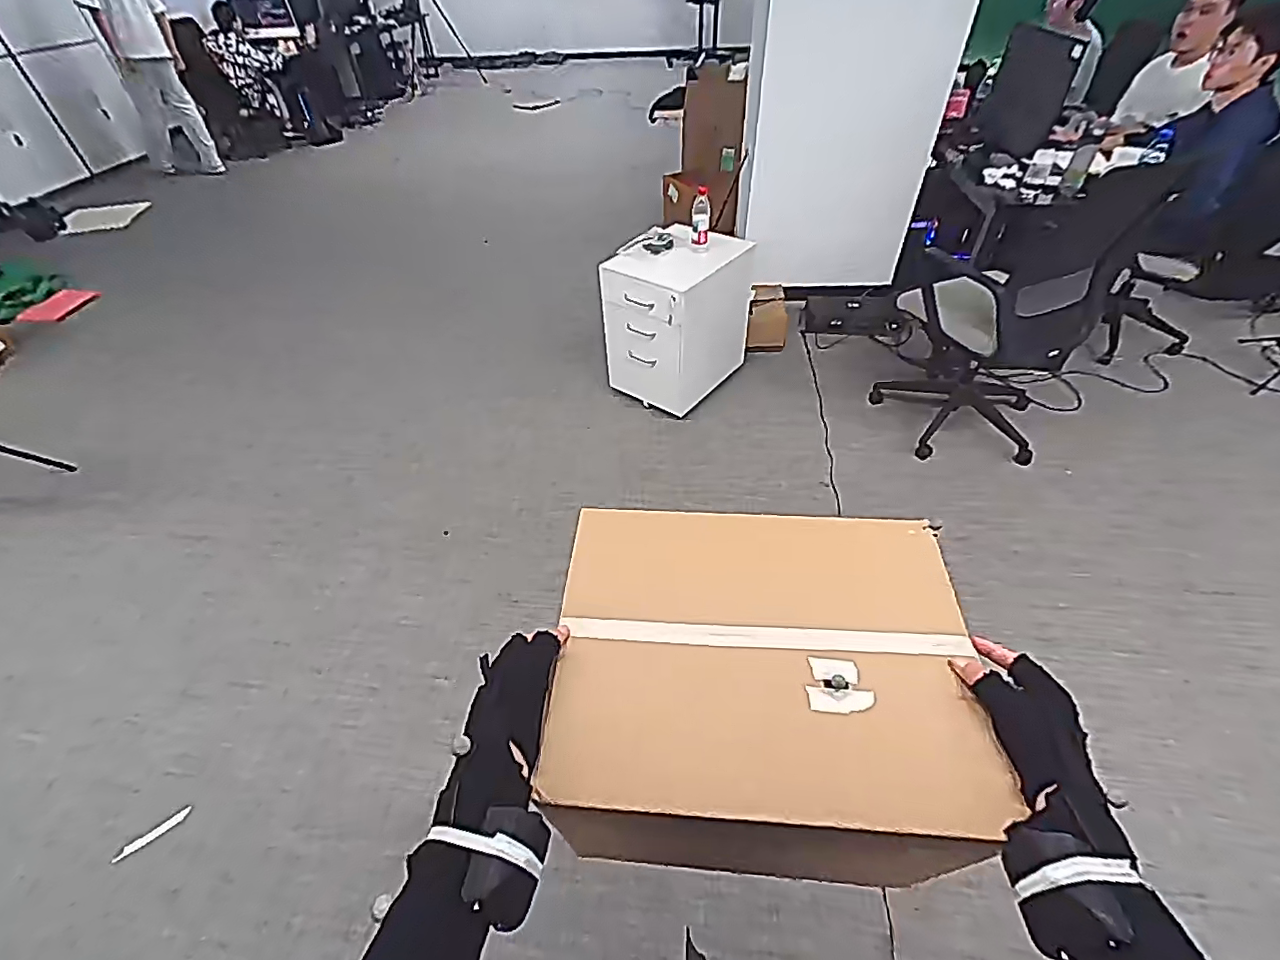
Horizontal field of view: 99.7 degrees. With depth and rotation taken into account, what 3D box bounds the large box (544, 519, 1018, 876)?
[{"bbox_3d":[0.127,0.265,0.661,0.408,0.320,0.320,2,49,5],"label":"large box"}]
